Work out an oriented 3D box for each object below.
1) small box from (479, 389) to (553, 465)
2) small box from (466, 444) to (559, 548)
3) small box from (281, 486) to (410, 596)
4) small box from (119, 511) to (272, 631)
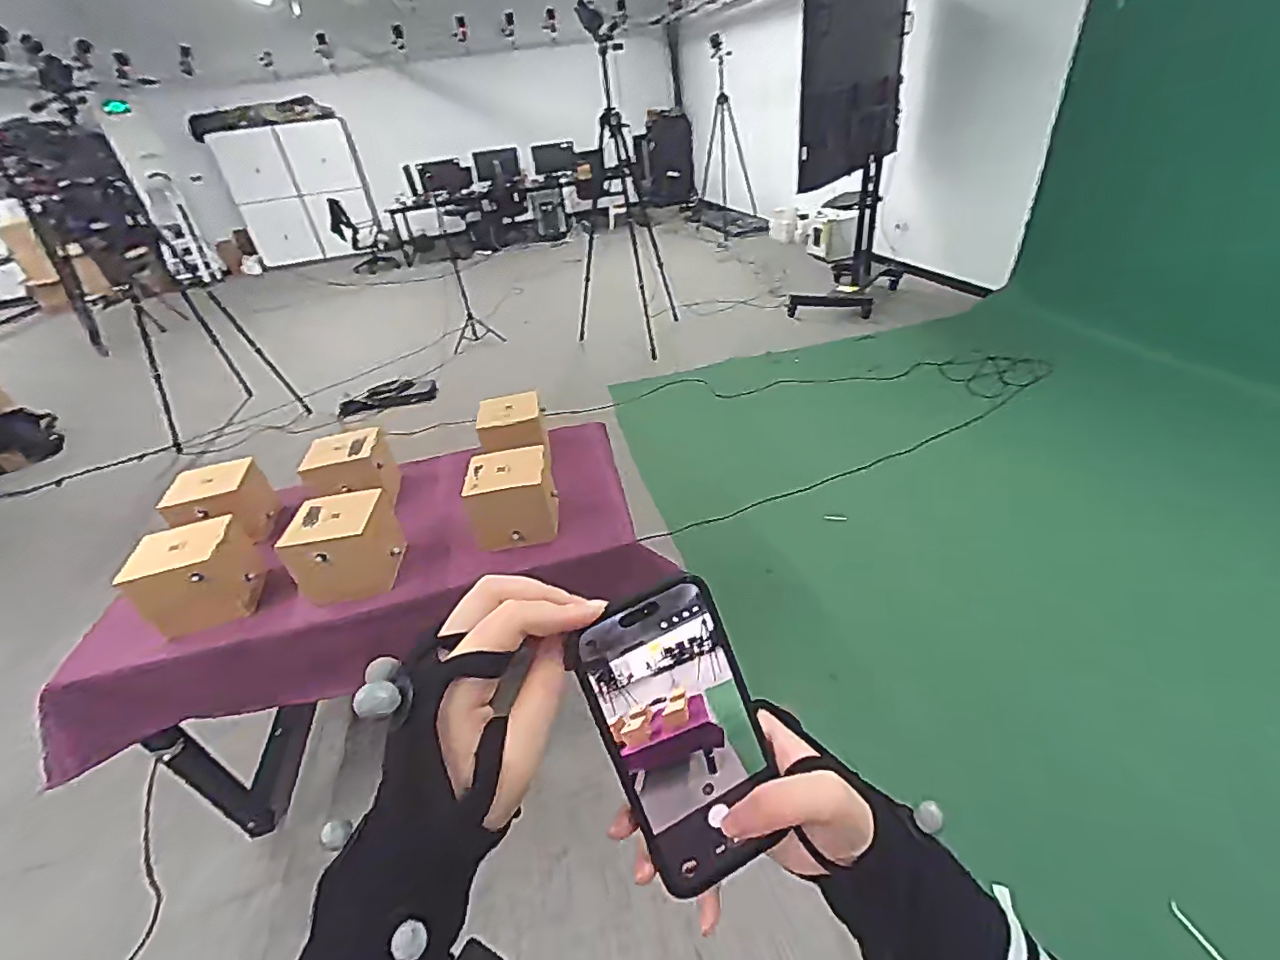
[{"bbox_3d":[-0.344,-0.134,1.527,0.168,0.176,0.179,-11,36,-4],"label":"small box"},{"bbox_3d":[-0.289,0.038,1.271,0.179,0.176,0.168,-8,34,-2],"label":"small box"},{"bbox_3d":[-0.639,0.137,1.198,0.179,0.176,0.168,-9,35,-3],"label":"small box"},{"bbox_3d":[-0.945,0.199,1.171,0.179,0.176,0.168,-15,35,-13],"label":"small box"}]
